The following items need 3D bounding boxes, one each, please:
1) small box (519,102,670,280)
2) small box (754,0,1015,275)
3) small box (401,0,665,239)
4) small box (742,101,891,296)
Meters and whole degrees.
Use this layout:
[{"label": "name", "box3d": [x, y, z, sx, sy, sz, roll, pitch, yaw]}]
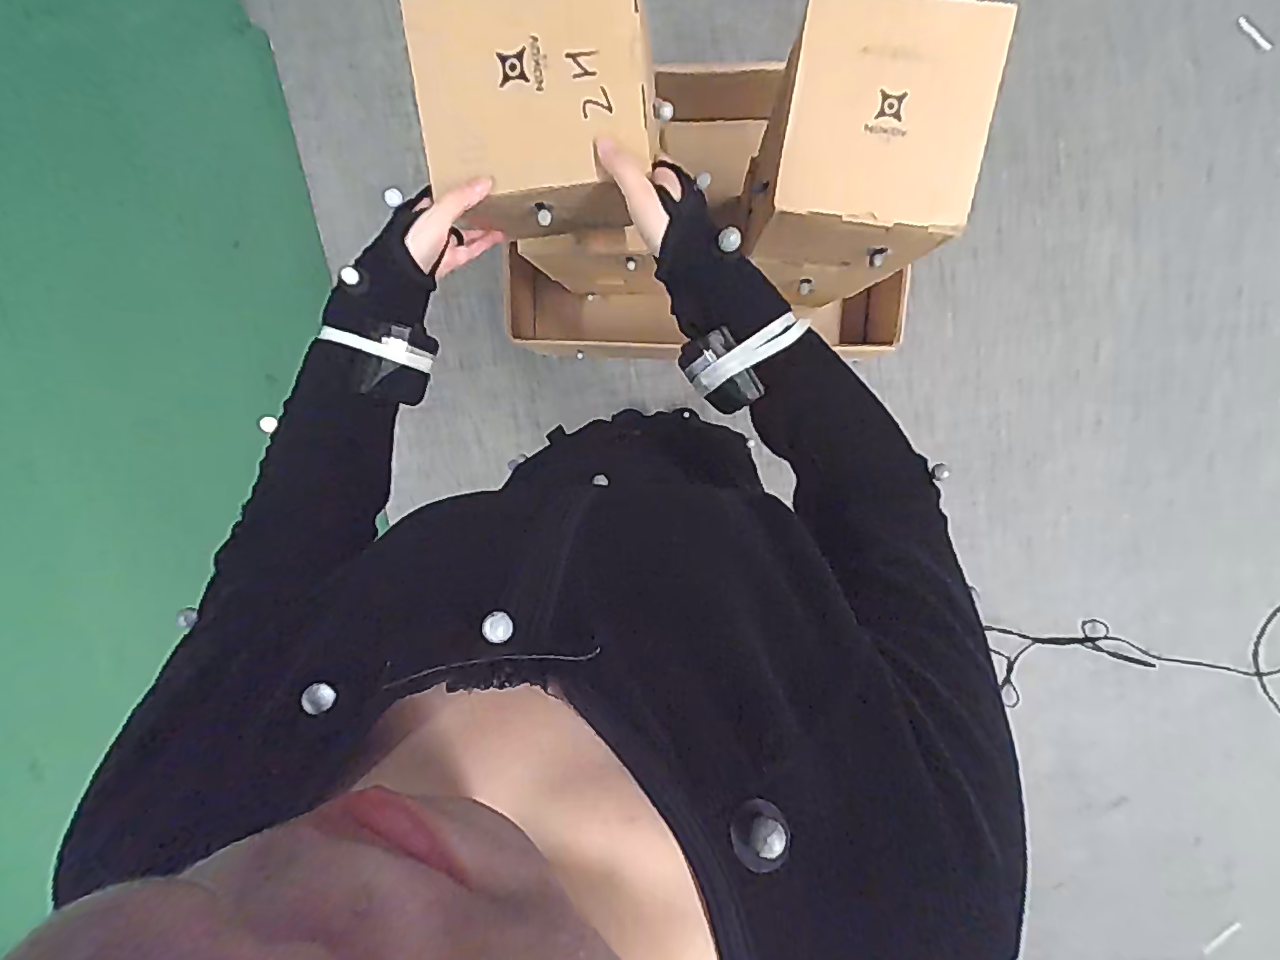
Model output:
[{"label": "small box", "box3d": [-0.052, -0.365, 0.713, 0.179, 0.176, 0.168, 1, 100, 4]}, {"label": "small box", "box3d": [0.213, -0.313, 0.528, 0.168, 0.176, 0.179, 10, 100, 3]}, {"label": "small box", "box3d": [-0.076, -0.320, 0.477, 0.179, 0.176, 0.168, -3, 105, 8]}, {"label": "small box", "box3d": [0.228, -0.341, 0.688, 0.168, 0.176, 0.179, 9, 101, 3]}]
